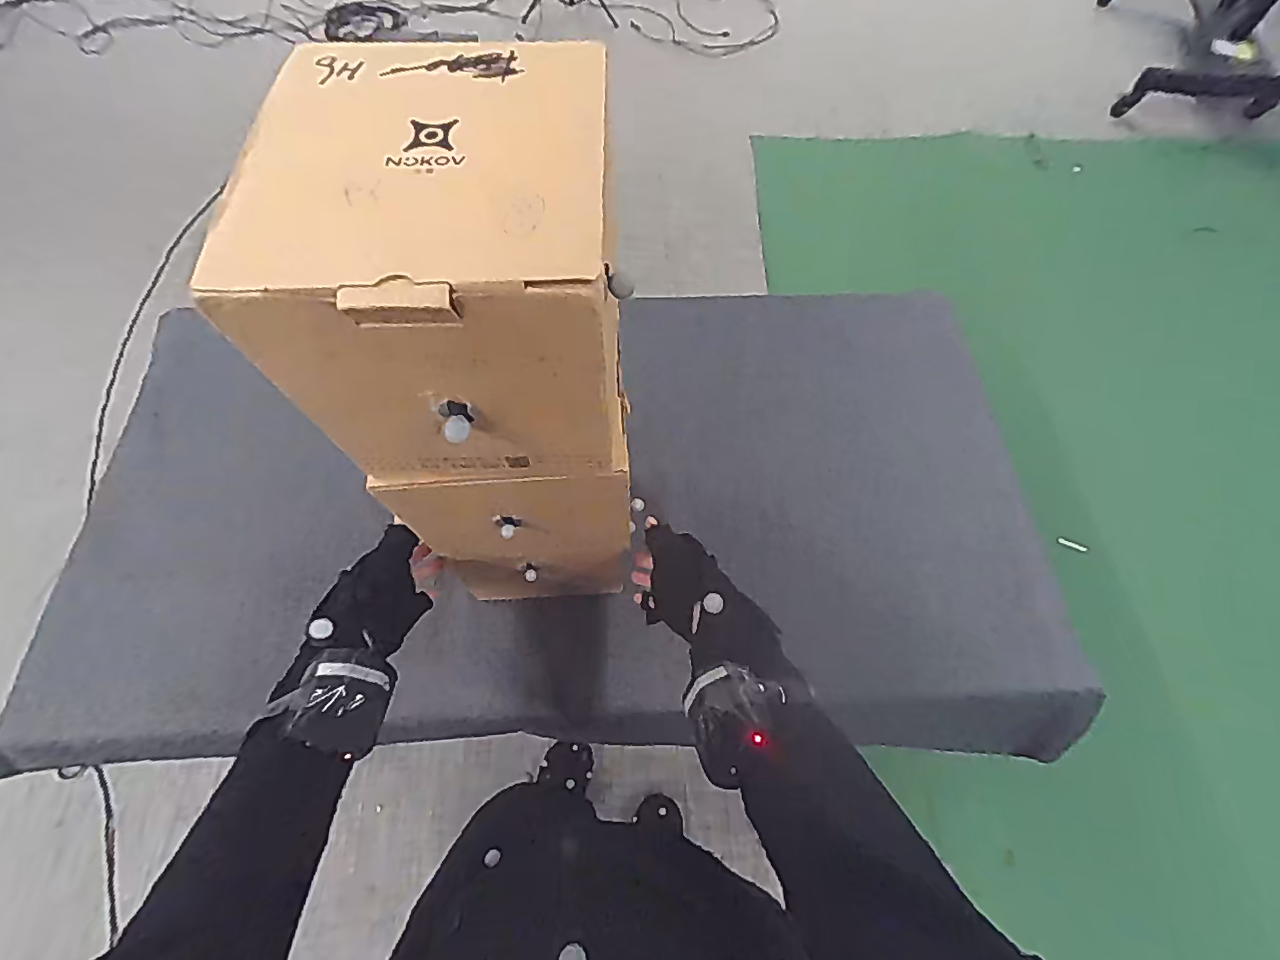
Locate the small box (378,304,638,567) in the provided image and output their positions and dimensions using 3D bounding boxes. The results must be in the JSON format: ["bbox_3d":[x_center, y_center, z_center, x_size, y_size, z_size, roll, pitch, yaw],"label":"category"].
[{"bbox_3d":[-0.099,-0.032,0.468,0.179,0.176,0.168,-6,65,-4],"label":"small box"}]

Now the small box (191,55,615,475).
[{"bbox_3d":[-0.101,-0.110,0.324,0.168,0.176,0.179,-1,65,0],"label":"small box"}]

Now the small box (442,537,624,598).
[{"bbox_3d":[-0.109,0.035,0.619,0.179,0.176,0.168,-3,65,-3],"label":"small box"}]
